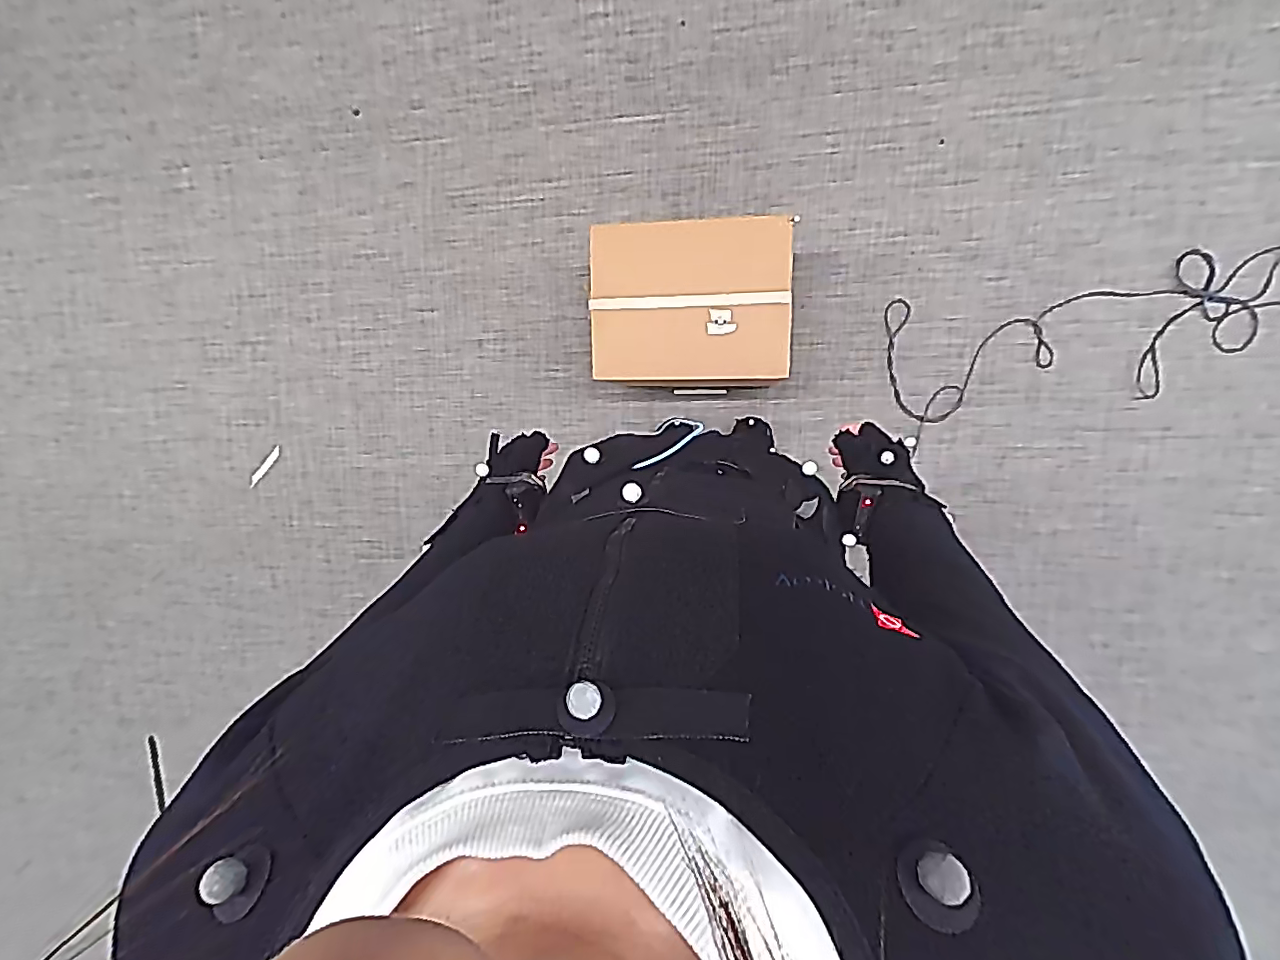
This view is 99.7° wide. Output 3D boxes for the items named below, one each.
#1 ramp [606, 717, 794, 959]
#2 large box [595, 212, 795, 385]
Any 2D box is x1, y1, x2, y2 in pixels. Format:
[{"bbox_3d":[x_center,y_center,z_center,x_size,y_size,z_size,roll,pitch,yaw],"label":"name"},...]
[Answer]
[{"bbox_3d":[0.152,1.186,1.490,0.509,0.206,0.991,1,97,10],"label":"ramp"},{"bbox_3d":[0.126,-0.386,1.238,0.408,0.320,0.320,1,98,8],"label":"large box"}]
